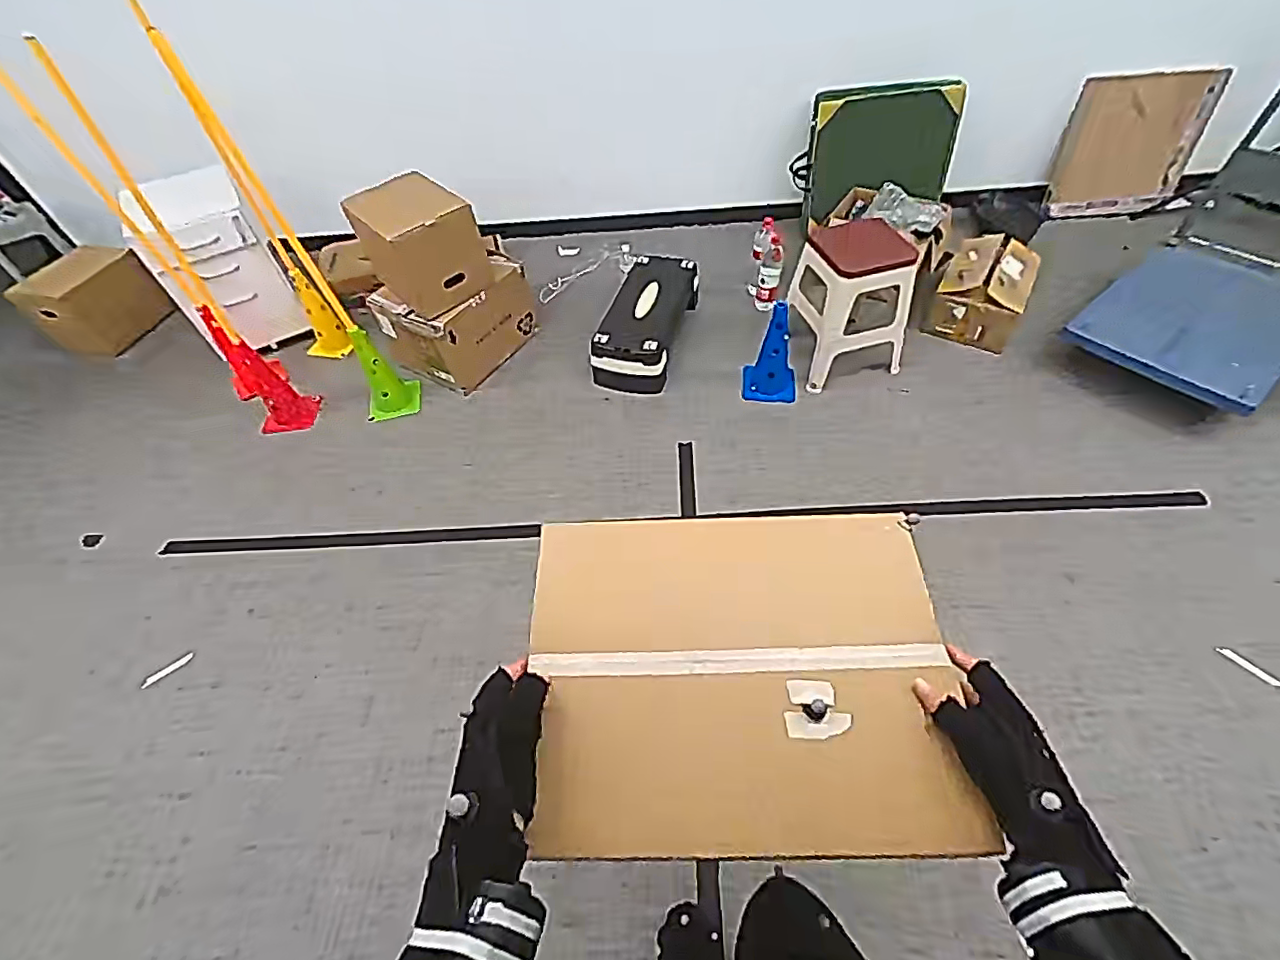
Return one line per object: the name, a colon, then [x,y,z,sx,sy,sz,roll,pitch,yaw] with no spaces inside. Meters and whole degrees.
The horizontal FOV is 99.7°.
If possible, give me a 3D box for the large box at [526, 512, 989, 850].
large box: [0.099,0.253,0.661,0.408,0.320,0.320,-2,58,1]
